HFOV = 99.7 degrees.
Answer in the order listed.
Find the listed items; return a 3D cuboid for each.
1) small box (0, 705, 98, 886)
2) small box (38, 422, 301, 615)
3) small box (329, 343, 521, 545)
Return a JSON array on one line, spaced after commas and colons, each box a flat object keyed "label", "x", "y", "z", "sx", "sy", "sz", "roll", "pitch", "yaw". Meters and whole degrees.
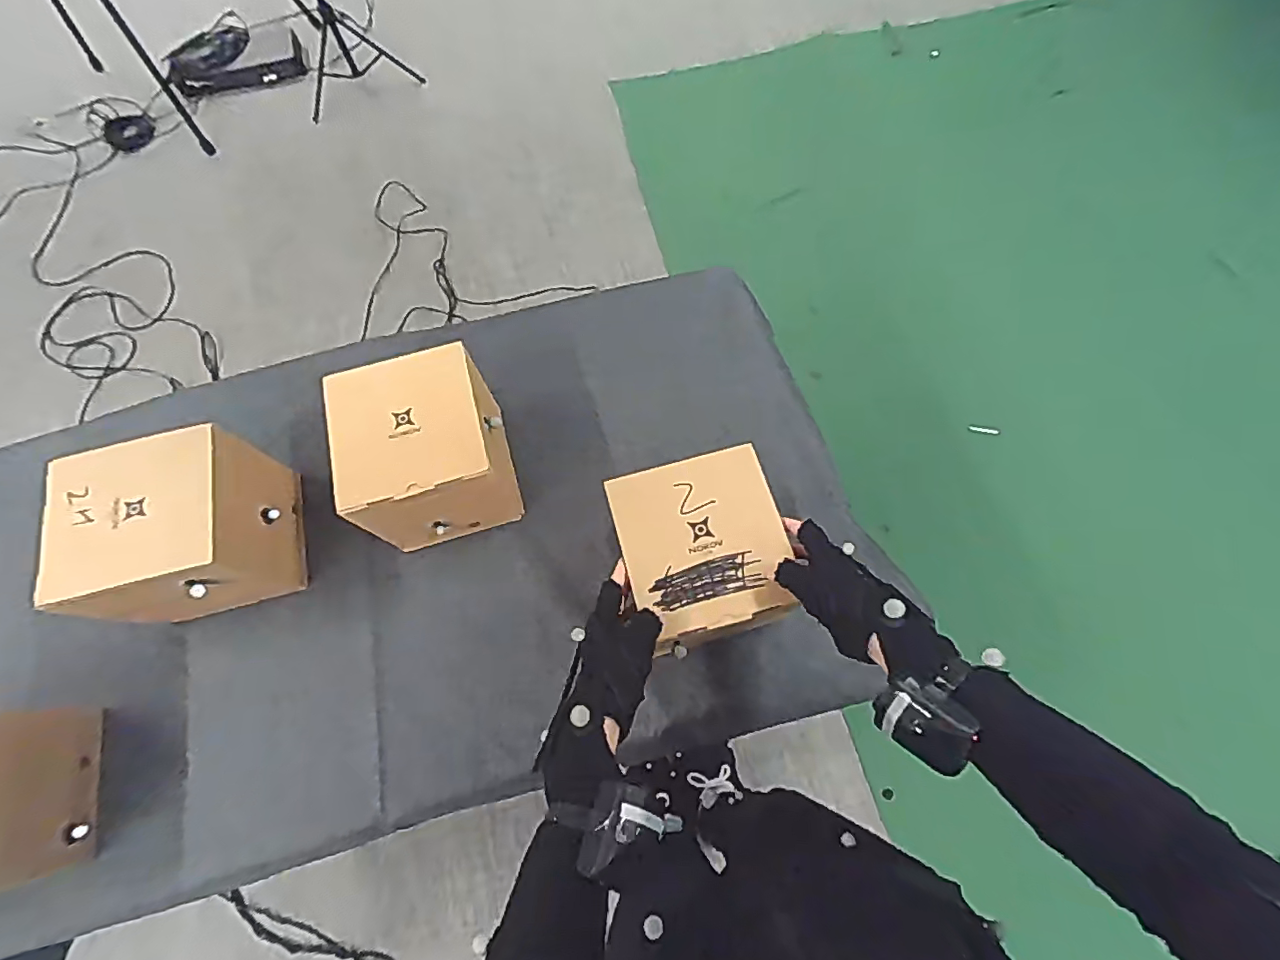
[{"label": "small box", "x": -0.707, "y": 0.333, "z": 0.540, "sx": 0.179, "sy": 0.176, "sz": 0.168, "roll": -16, "pitch": 69, "yaw": -5}, {"label": "small box", "x": -0.531, "y": 0.054, "z": 0.642, "sx": 0.179, "sy": 0.176, "sz": 0.168, "roll": -14, "pitch": 70, "yaw": -5}, {"label": "small box", "x": -0.259, "y": -0.037, "z": 0.677, "sx": 0.168, "sy": 0.176, "sz": 0.179, "roll": -16, "pitch": 70, "yaw": -5}]
